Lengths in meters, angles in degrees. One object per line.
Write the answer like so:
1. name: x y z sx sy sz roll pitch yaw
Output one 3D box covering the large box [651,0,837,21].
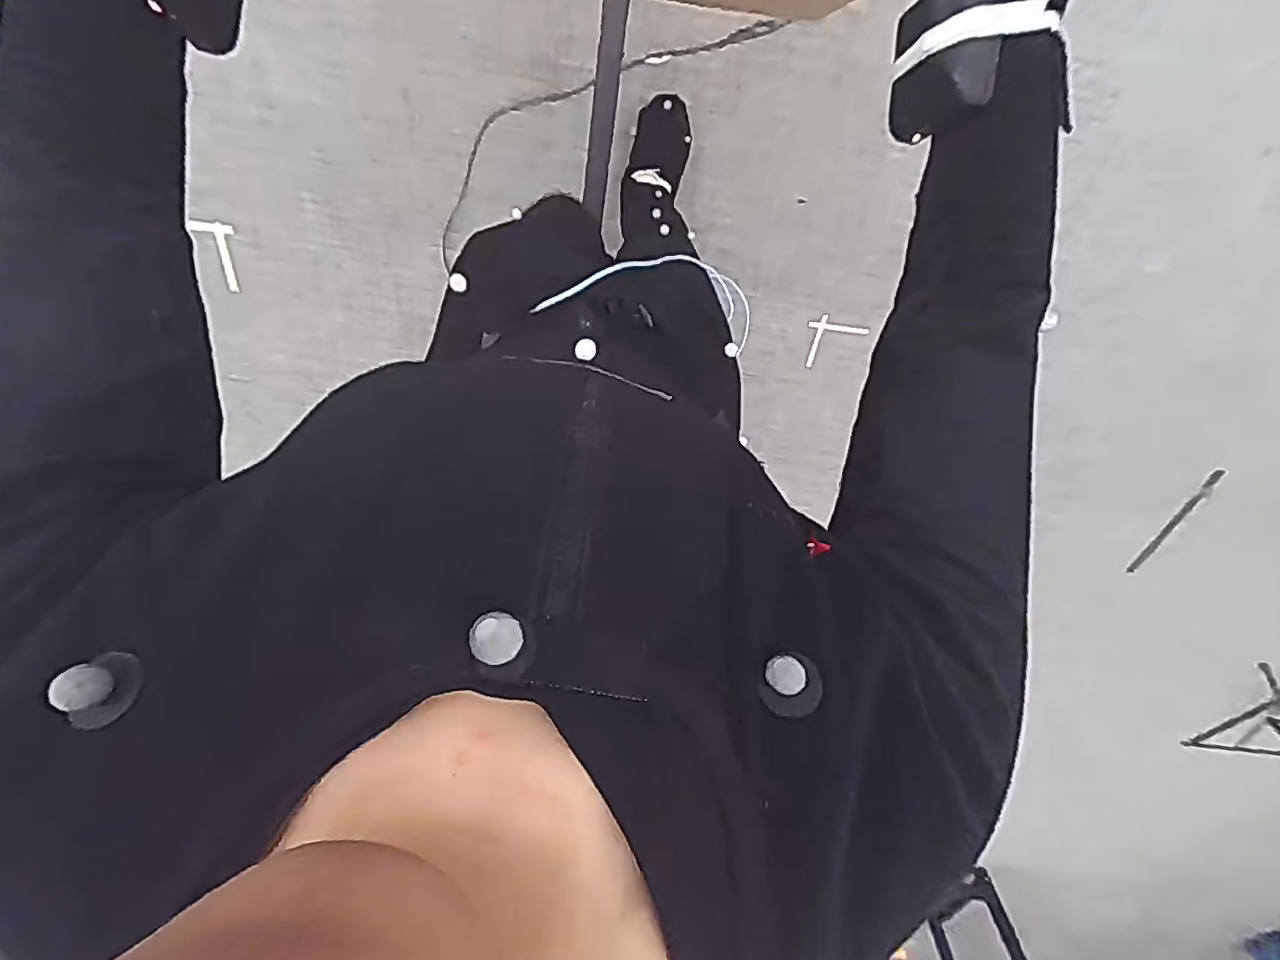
1. large box: 0.000 -0.553 0.364 0.408 0.320 0.320 6 125 -3
